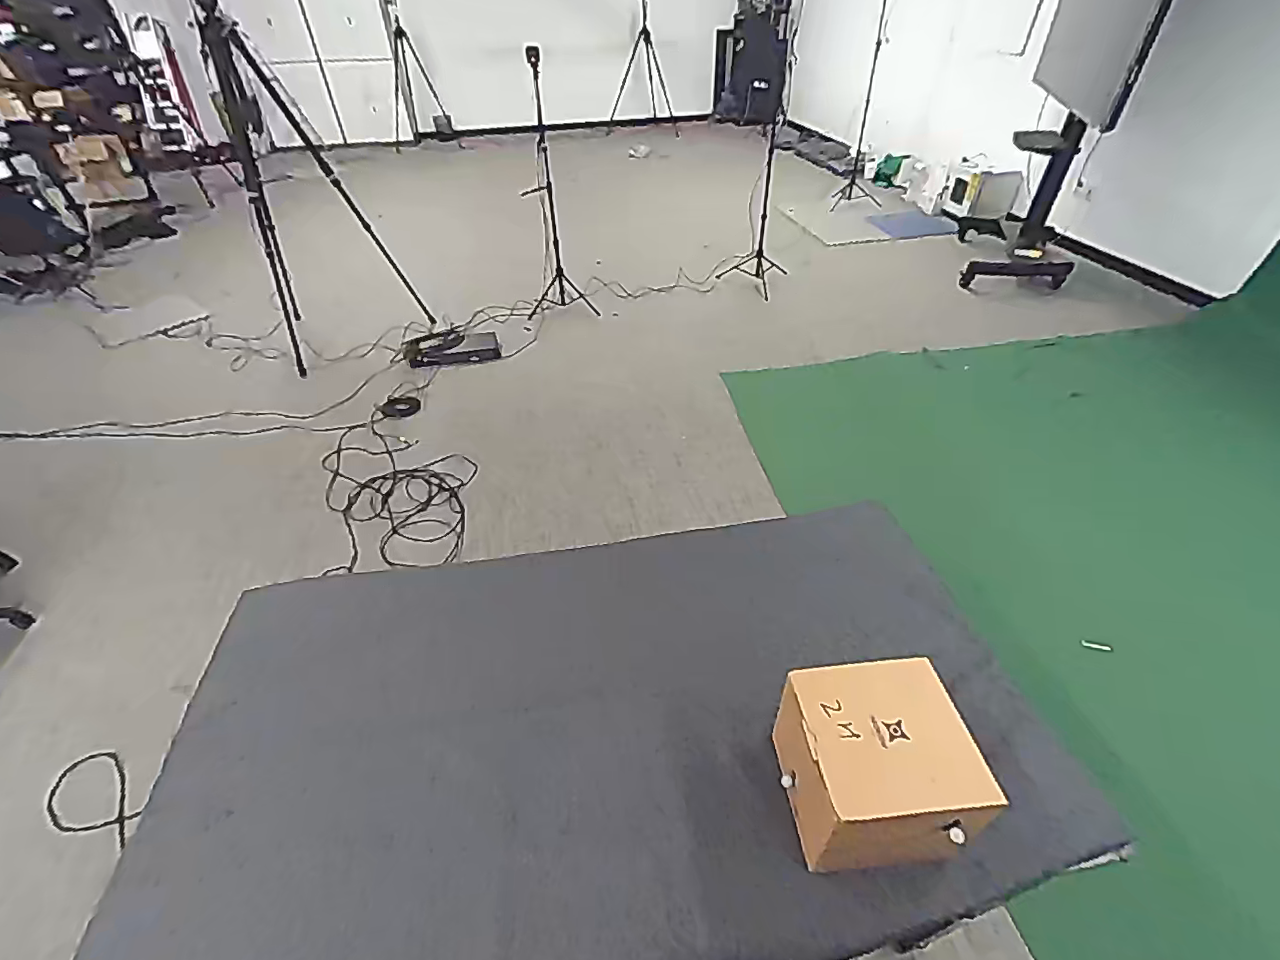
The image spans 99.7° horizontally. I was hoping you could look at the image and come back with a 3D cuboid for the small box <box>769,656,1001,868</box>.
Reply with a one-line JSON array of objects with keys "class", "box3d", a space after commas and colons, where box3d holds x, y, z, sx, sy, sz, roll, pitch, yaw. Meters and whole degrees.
[{"class": "small box", "box3d": [0.265, 0.331, 0.636, 0.179, 0.176, 0.168, -5, 40, -2]}]
